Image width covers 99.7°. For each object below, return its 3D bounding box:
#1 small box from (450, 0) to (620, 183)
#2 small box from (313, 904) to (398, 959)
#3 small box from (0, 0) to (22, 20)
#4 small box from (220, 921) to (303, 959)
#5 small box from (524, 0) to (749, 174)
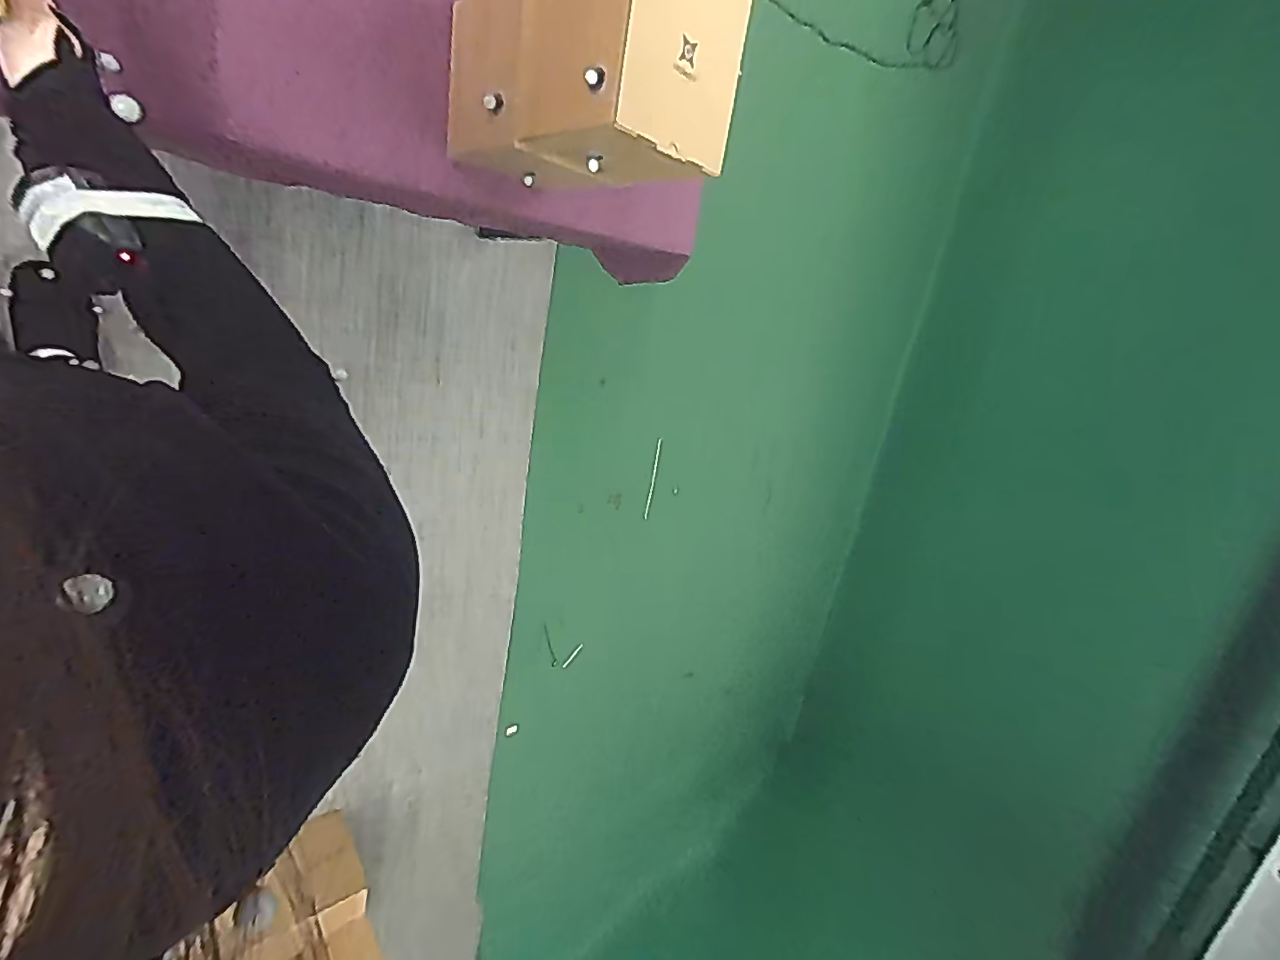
[{"bbox_3d":[-0.128,-0.496,0.691,0.168,0.176,0.179,-9,114,-45],"label":"small box"},{"bbox_3d":[-0.800,1.353,1.510,0.168,0.176,0.179,-5,114,-46],"label":"small box"},{"bbox_3d":[-0.464,-0.367,0.275,0.179,0.176,0.168,-11,126,-44],"label":"small box"},{"bbox_3d":[-0.930,1.247,1.314,0.179,0.176,0.168,-6,114,-46],"label":"small box"},{"bbox_3d":[-0.009,-0.453,0.588,0.168,0.176,0.179,-9,116,-45],"label":"small box"}]
